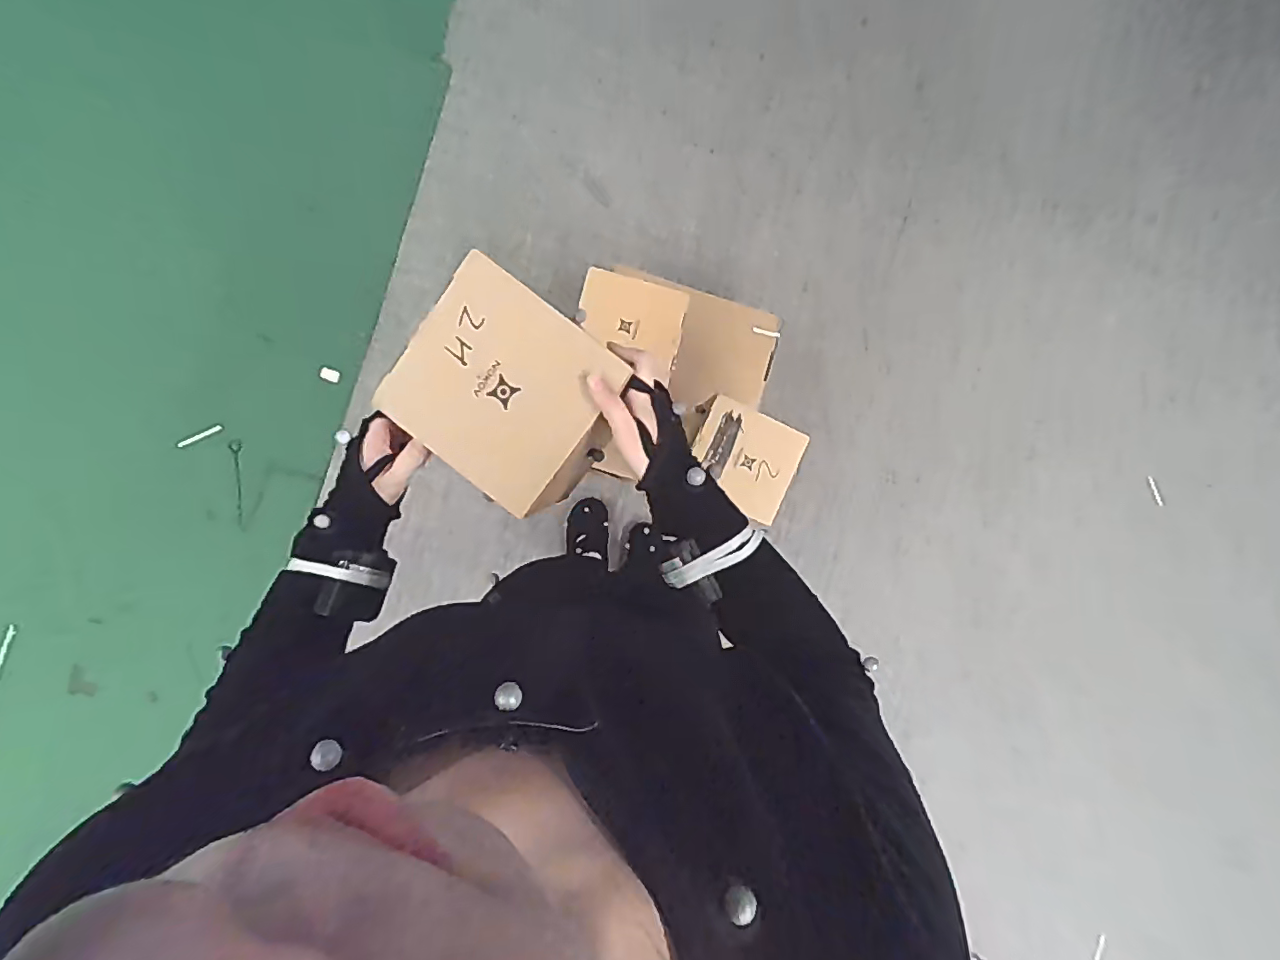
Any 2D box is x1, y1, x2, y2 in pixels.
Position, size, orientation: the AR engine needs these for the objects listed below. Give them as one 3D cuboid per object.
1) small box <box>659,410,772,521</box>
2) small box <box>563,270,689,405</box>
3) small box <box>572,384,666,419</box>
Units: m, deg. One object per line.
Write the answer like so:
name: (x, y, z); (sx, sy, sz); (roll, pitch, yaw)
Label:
small box: (0.148, -0.027, 1.133); (0.168, 0.176, 0.179); (21, 87, -4)
small box: (-0.027, -0.242, 0.965); (0.179, 0.176, 0.168); (15, 86, -4)
small box: (-0.033, -0.231, 1.128); (0.179, 0.176, 0.168); (15, 86, -3)
